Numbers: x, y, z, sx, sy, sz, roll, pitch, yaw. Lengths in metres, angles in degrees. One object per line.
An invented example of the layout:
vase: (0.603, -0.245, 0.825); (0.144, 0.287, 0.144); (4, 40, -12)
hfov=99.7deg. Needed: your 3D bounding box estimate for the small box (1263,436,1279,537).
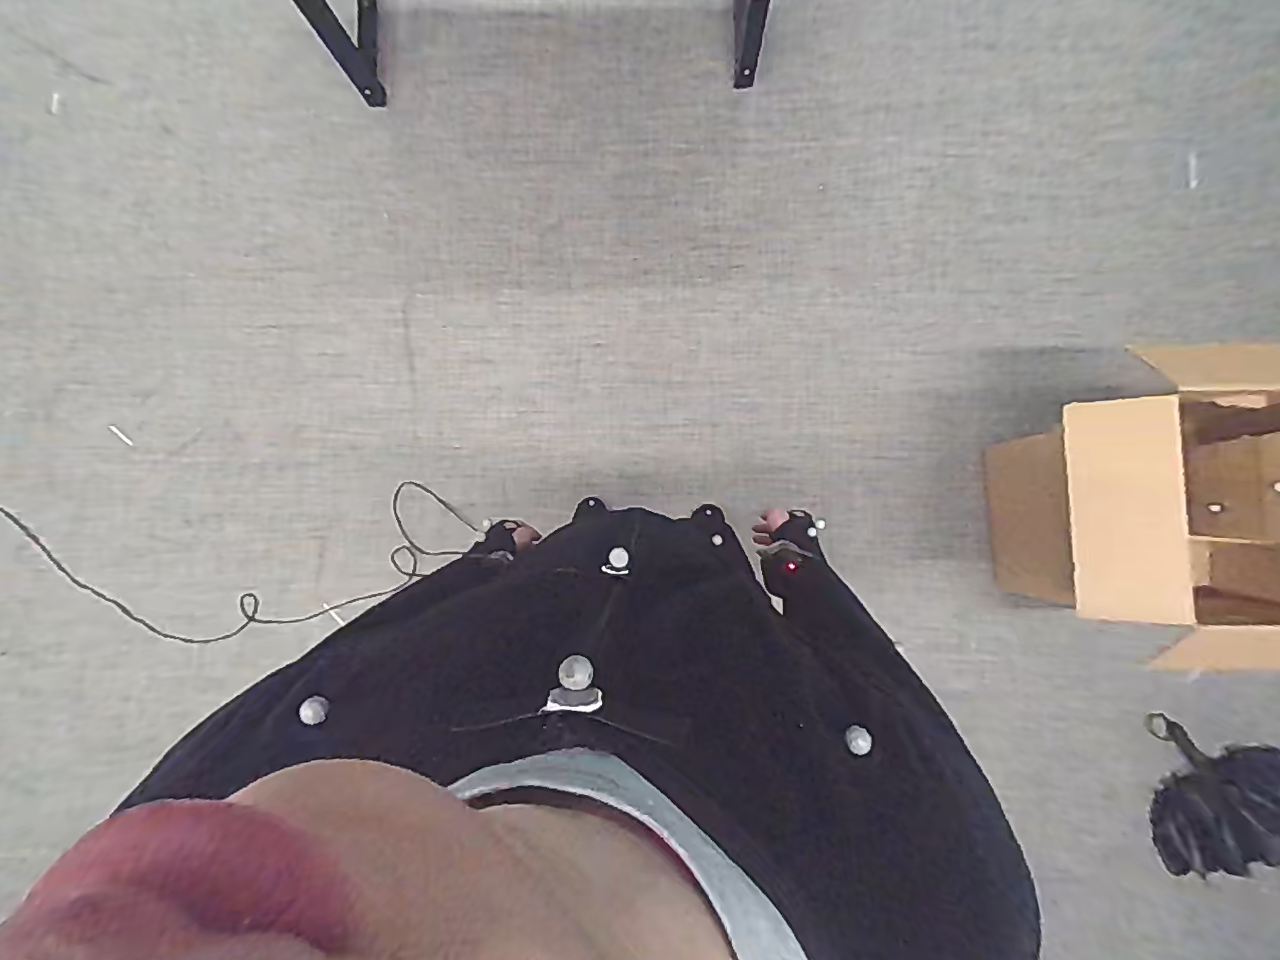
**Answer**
small box: (1.078, 0.015, 0.785); (0.168, 0.176, 0.179); (2, 85, 4)
